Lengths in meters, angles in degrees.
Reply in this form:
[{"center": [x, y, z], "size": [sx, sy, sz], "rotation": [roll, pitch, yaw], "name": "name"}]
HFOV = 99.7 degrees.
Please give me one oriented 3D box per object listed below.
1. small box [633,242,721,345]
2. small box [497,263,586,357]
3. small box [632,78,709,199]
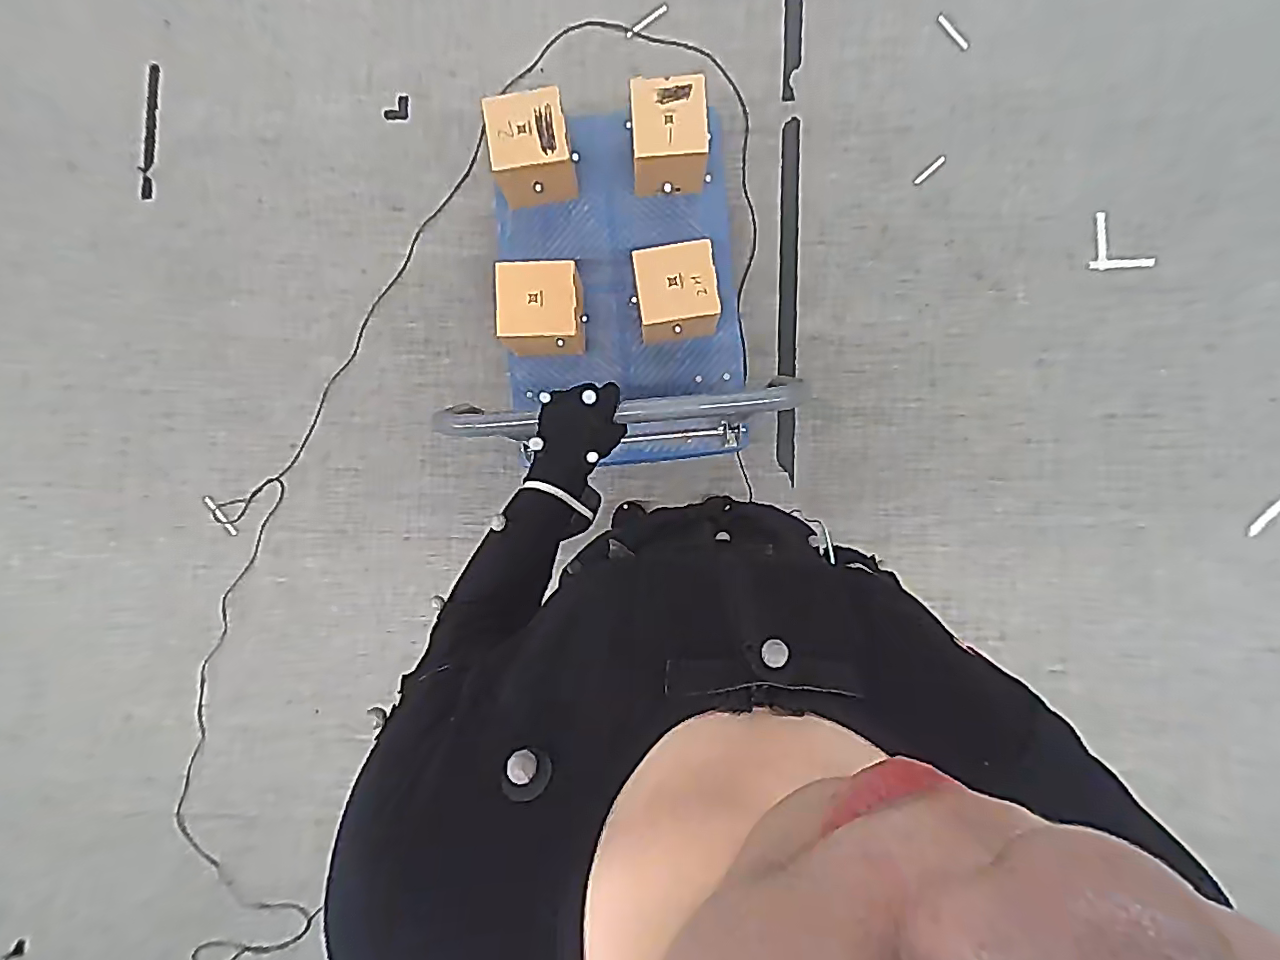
[{"center": [0.084, -0.423, 1.254], "size": [0.179, 0.176, 0.168], "rotation": [-9, 89, 1], "name": "small box"}, {"center": [-0.223, -0.388, 1.262], "size": [0.179, 0.176, 0.168], "rotation": [-2, 89, 0], "name": "small box"}, {"center": [0.067, -0.788, 1.260], "size": [0.168, 0.176, 0.179], "rotation": [-4, 90, 1], "name": "small box"}]
